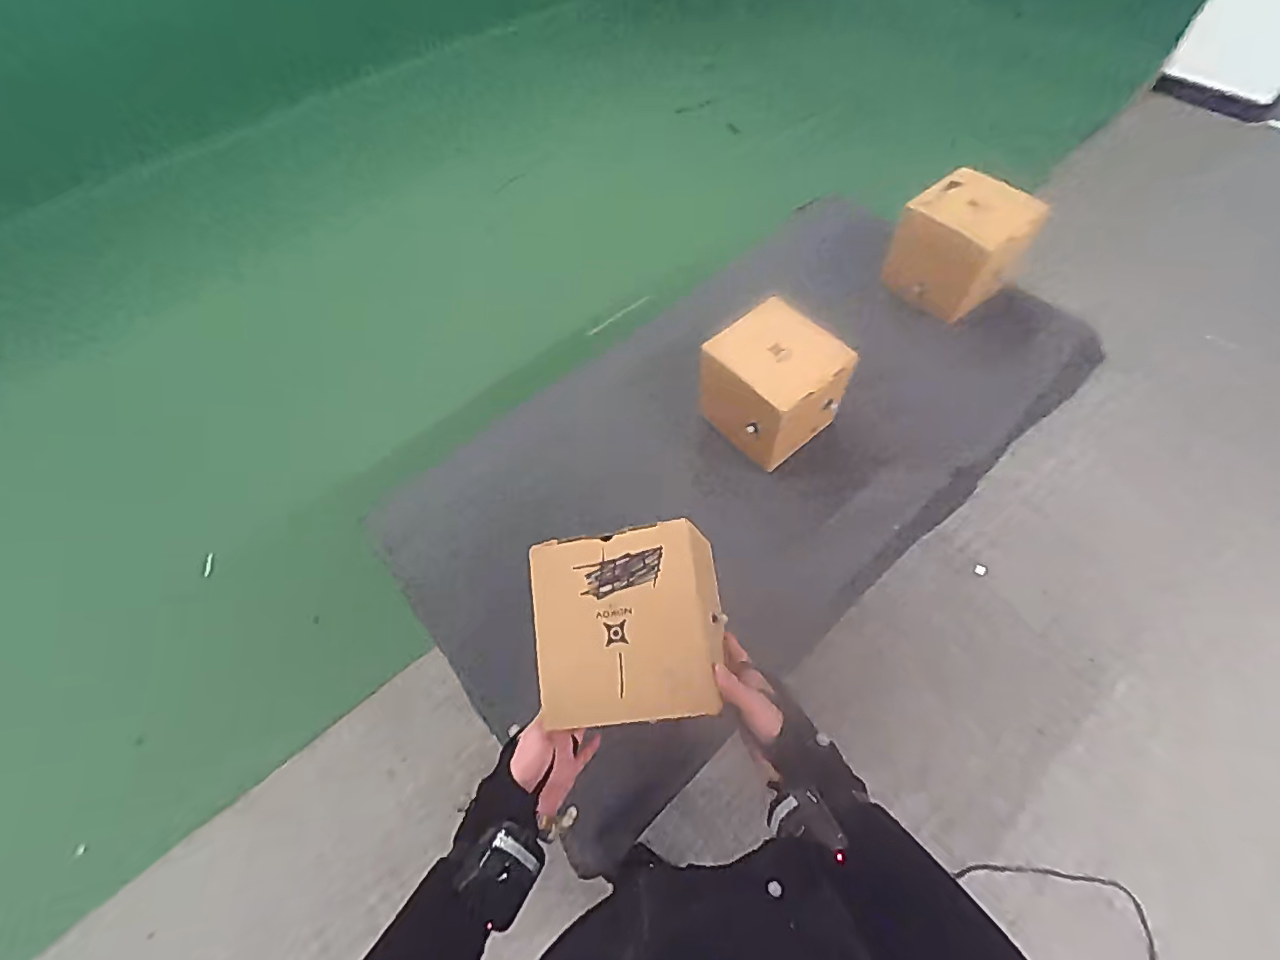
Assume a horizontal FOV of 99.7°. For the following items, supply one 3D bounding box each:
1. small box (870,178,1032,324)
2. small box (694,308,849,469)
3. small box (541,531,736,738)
[{"bbox_3d":[0.579,-0.427,1.032,0.168,0.176,0.179,-36,65,-15],"label":"small box"},{"bbox_3d":[0.206,-0.141,0.897,0.168,0.176,0.179,-37,64,-18],"label":"small box"},{"bbox_3d":[0.006,0.165,0.588,0.168,0.176,0.179,-11,74,12],"label":"small box"}]
